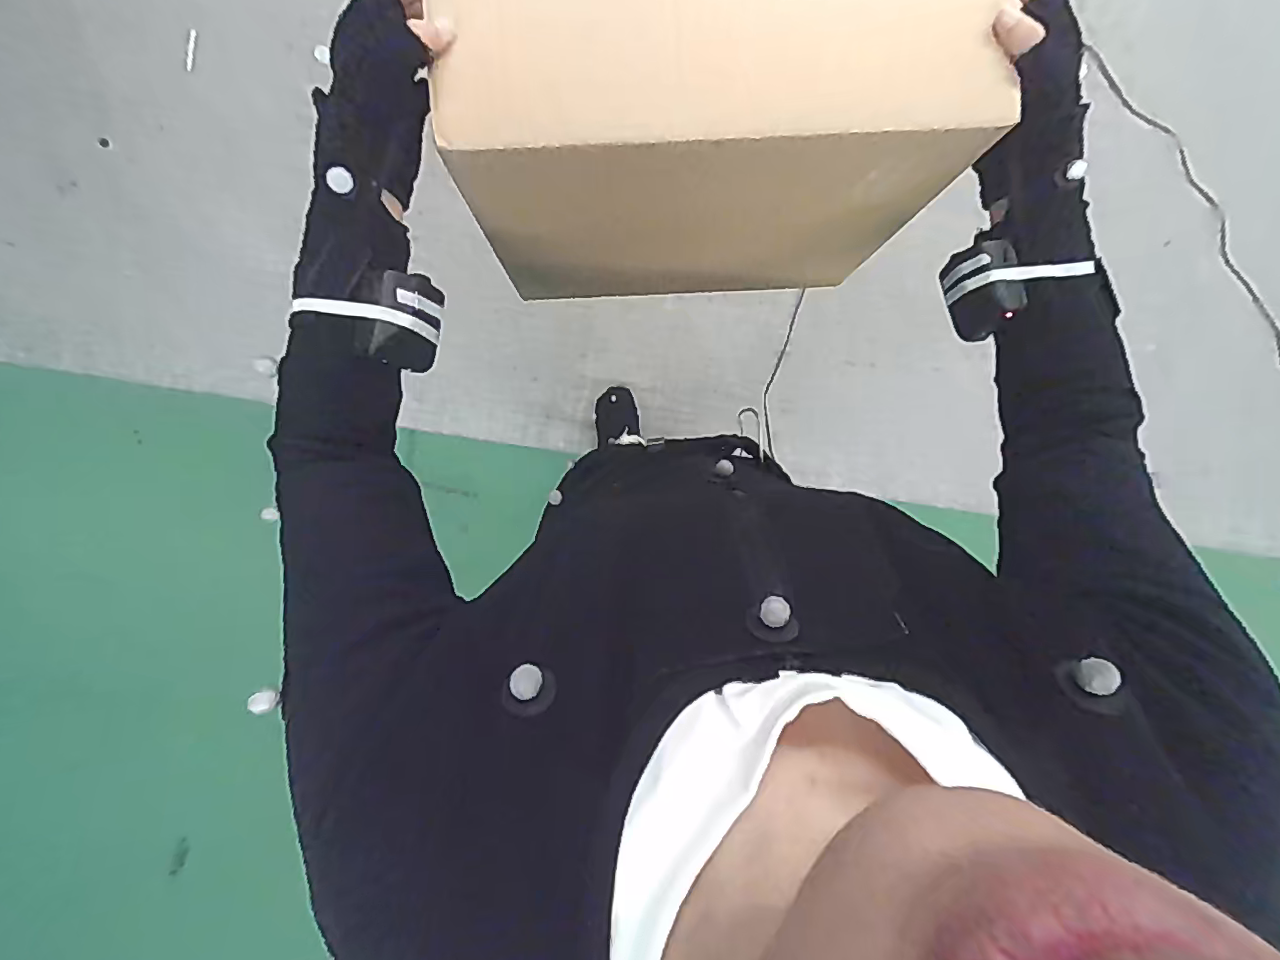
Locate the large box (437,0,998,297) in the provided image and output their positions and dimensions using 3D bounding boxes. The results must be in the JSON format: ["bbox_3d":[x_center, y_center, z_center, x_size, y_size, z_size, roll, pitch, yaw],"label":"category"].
[{"bbox_3d":[0.043,-0.394,0.533,0.408,0.320,0.320,-4,90,-3],"label":"large box"}]
